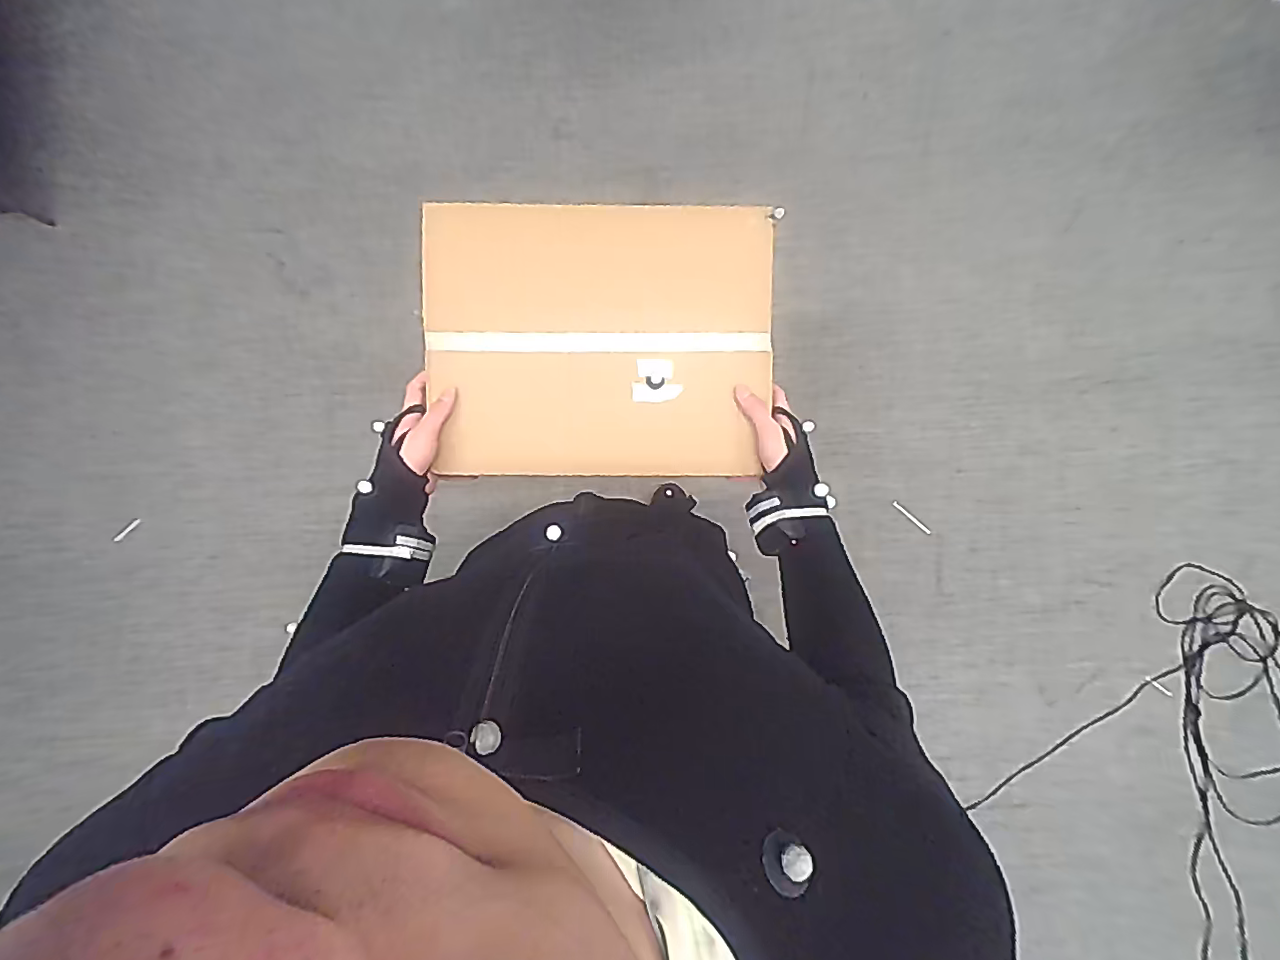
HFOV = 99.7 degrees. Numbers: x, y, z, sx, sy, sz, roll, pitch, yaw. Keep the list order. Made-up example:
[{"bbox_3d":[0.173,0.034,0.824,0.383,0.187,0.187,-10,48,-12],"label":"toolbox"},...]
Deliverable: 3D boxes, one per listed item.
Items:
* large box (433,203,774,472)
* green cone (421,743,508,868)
[{"bbox_3d":[-0.045,-0.179,0.788,0.408,0.320,0.320,0,95,-1],"label":"large box"},{"bbox_3d":[-0.505,0.898,1.464,0.200,0.368,0.202,3,90,1],"label":"green cone"}]
